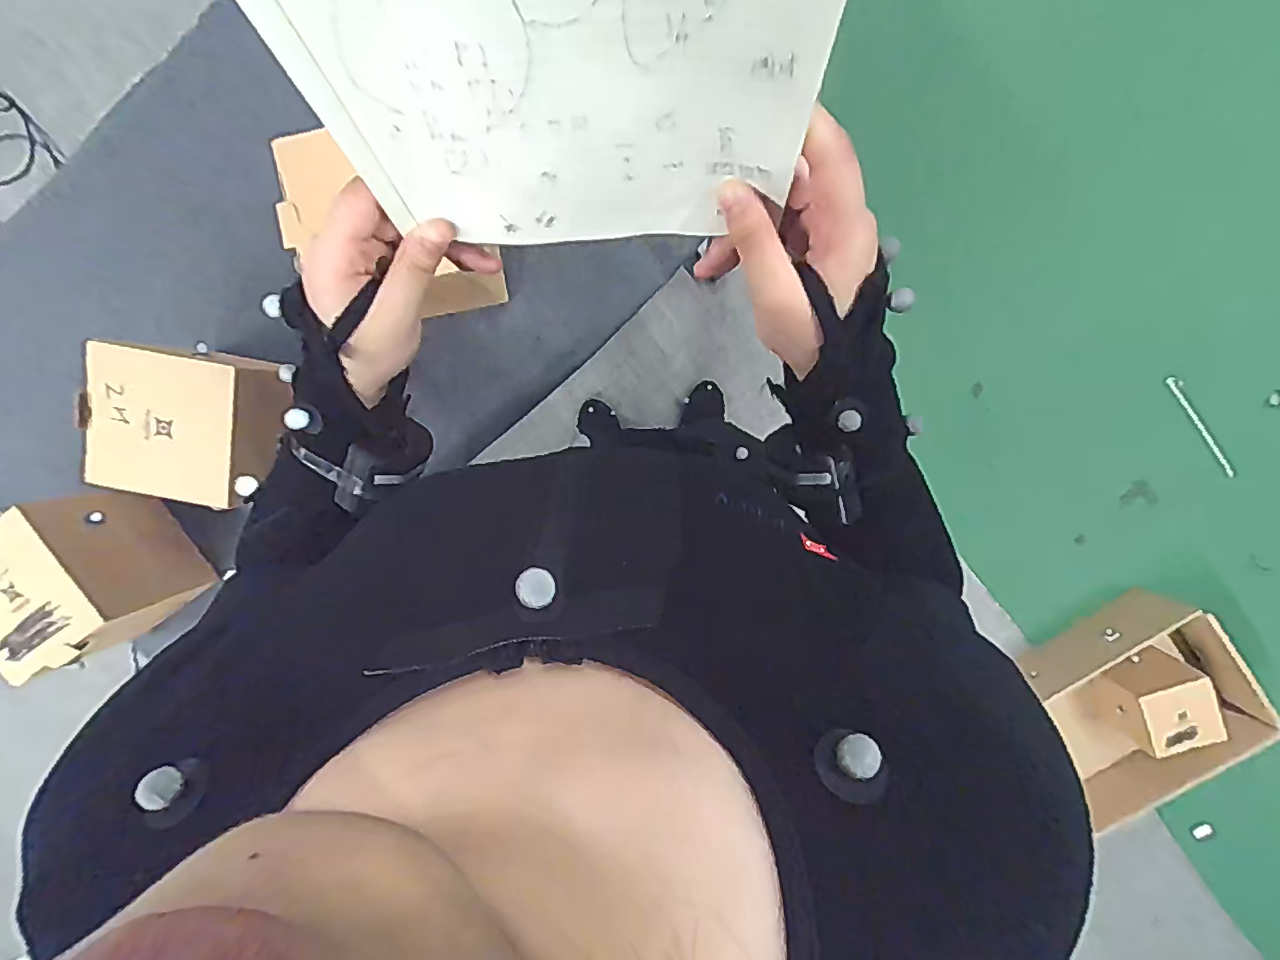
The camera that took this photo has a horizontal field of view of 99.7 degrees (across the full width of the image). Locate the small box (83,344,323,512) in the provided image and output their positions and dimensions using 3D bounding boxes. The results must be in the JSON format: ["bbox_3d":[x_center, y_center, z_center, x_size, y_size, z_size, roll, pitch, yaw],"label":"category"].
[{"bbox_3d":[-0.536,-0.069,0.686,0.179,0.176,0.168,11,99,2],"label":"small box"}]

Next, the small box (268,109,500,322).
[{"bbox_3d":[-0.278,-0.291,0.635,0.179,0.176,0.168,-9,98,6],"label":"small box"}]

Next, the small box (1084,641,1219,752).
[{"bbox_3d":[1.290,0.544,1.374,0.168,0.176,0.179,-22,98,7],"label":"small box"}]
